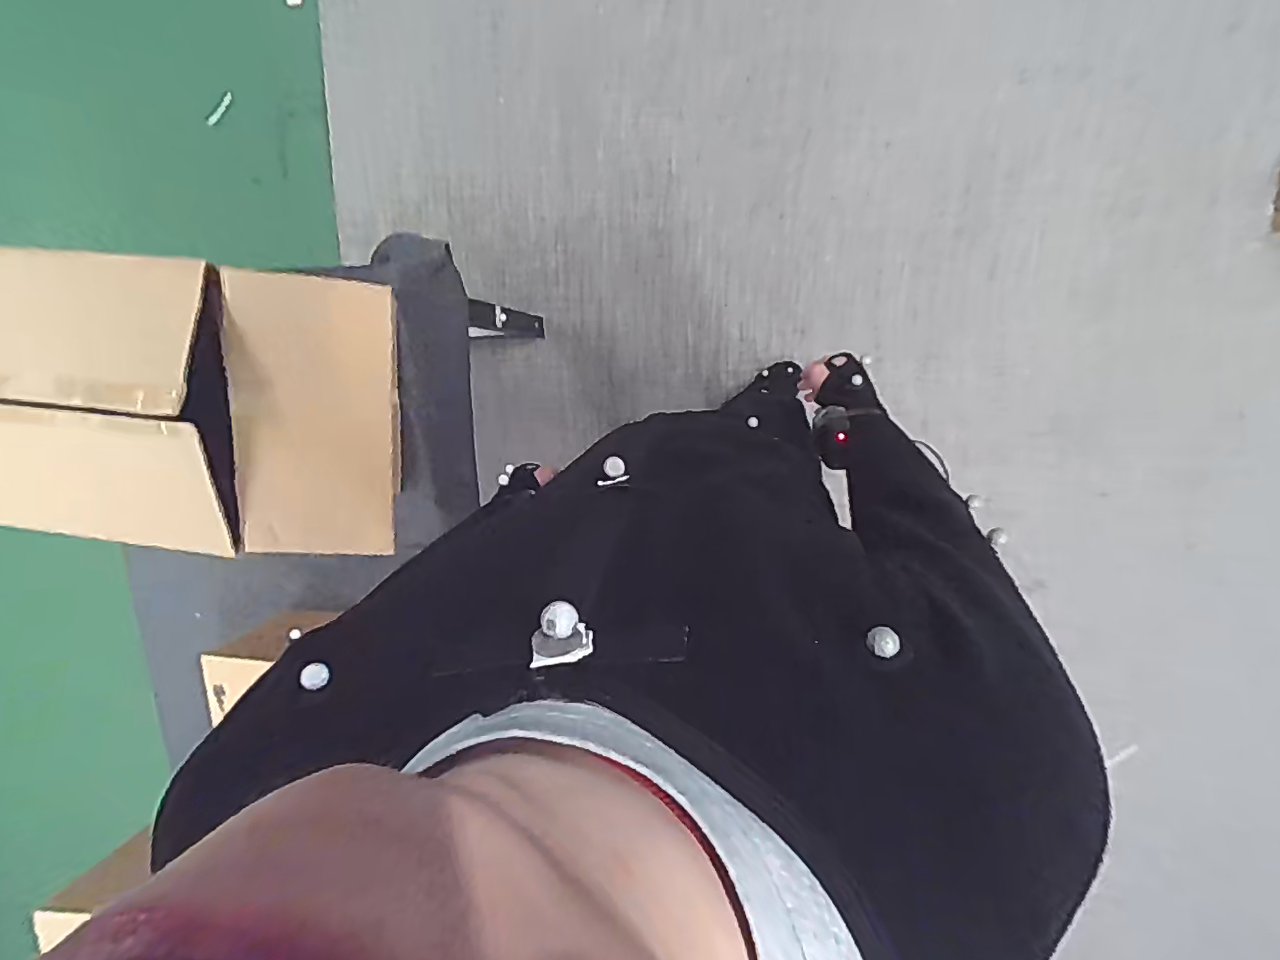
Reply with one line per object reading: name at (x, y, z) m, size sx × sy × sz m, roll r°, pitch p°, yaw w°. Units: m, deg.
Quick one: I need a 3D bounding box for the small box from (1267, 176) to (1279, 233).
small box at (1.478, -0.613, 1.105) m, size 0.179 × 0.176 × 0.168 m, roll 1°, pitch 102°, yaw 10°
